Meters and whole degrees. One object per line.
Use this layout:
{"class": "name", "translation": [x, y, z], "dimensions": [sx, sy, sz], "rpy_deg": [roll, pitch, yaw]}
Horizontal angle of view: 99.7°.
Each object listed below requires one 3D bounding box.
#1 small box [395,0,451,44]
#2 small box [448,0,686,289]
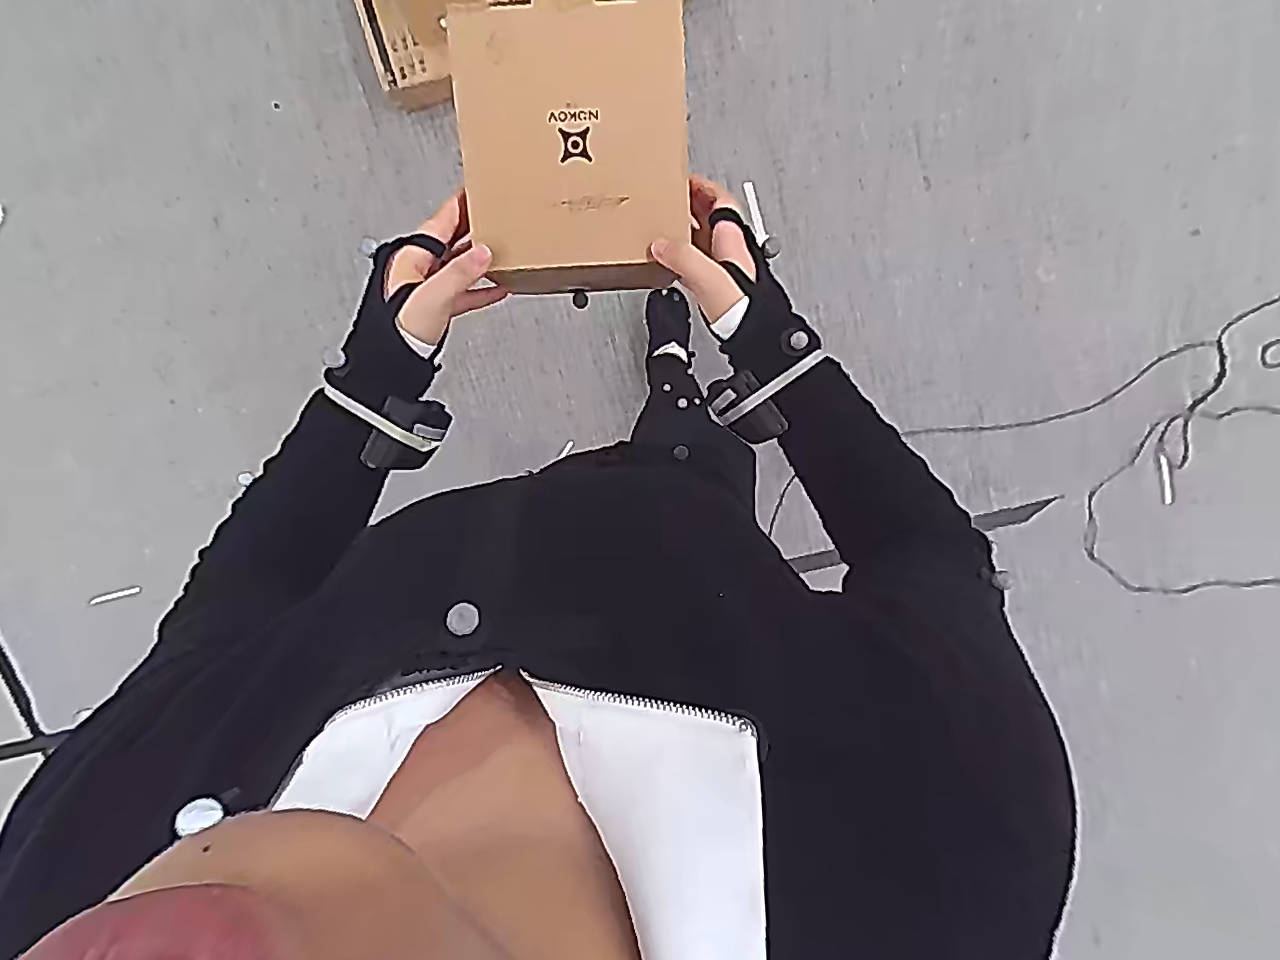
{"class": "small box", "translation": [-0.442, -1.070, 1.123], "dimensions": [0.168, 0.176, 0.179], "rpy_deg": [-16, 99, 3]}
{"class": "small box", "translation": [-0.054, -0.272, 0.471], "dimensions": [0.168, 0.176, 0.179], "rpy_deg": [-4, 103, -2]}
